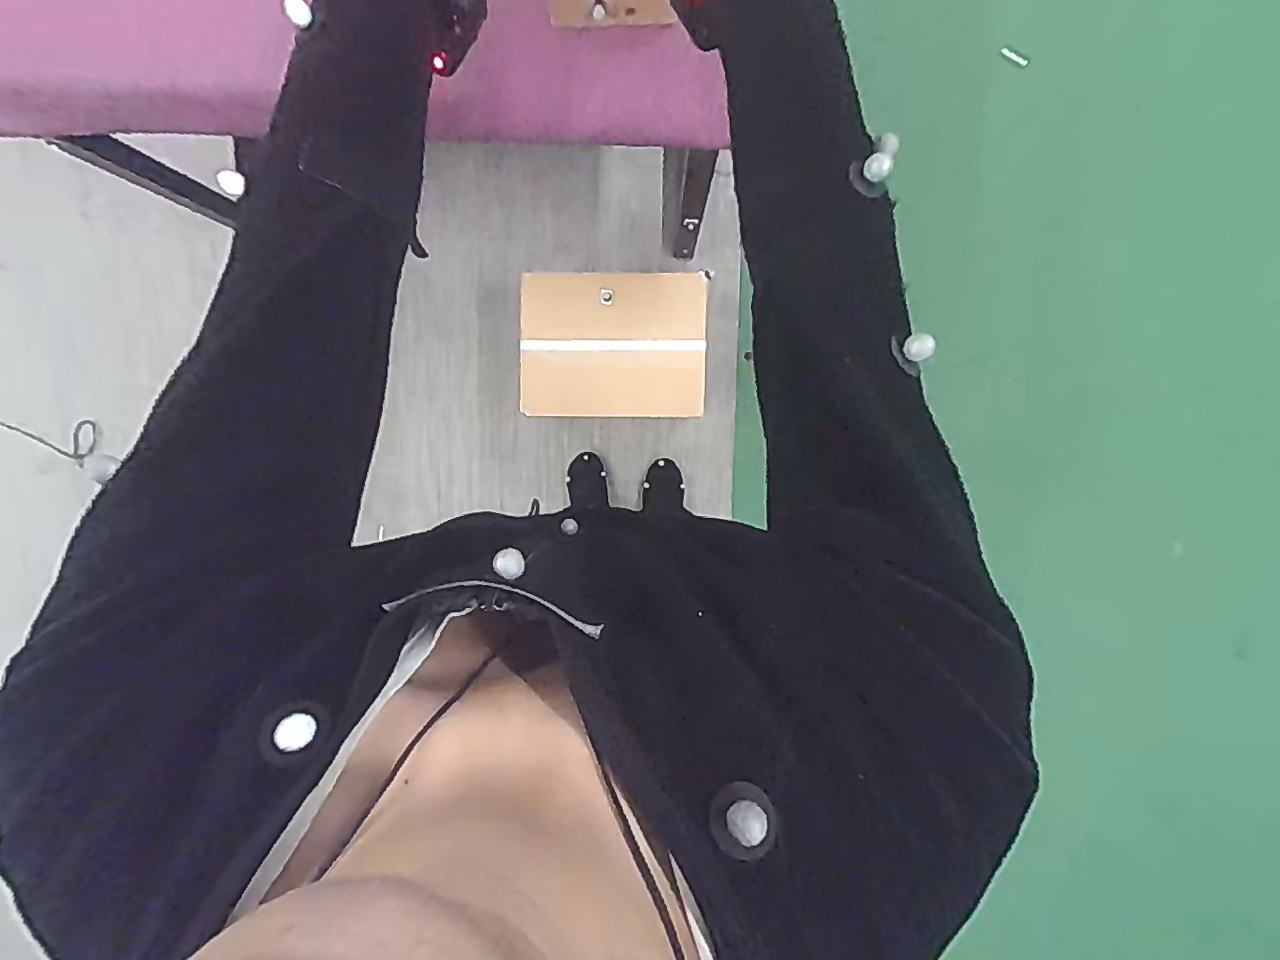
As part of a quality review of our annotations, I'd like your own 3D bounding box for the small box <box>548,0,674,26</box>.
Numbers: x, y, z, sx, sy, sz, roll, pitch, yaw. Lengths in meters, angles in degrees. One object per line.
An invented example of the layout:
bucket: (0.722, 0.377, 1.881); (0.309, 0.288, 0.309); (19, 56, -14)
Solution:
small box: (-0.040, -0.673, 0.617); (0.168, 0.176, 0.179); (-1, 95, 2)
